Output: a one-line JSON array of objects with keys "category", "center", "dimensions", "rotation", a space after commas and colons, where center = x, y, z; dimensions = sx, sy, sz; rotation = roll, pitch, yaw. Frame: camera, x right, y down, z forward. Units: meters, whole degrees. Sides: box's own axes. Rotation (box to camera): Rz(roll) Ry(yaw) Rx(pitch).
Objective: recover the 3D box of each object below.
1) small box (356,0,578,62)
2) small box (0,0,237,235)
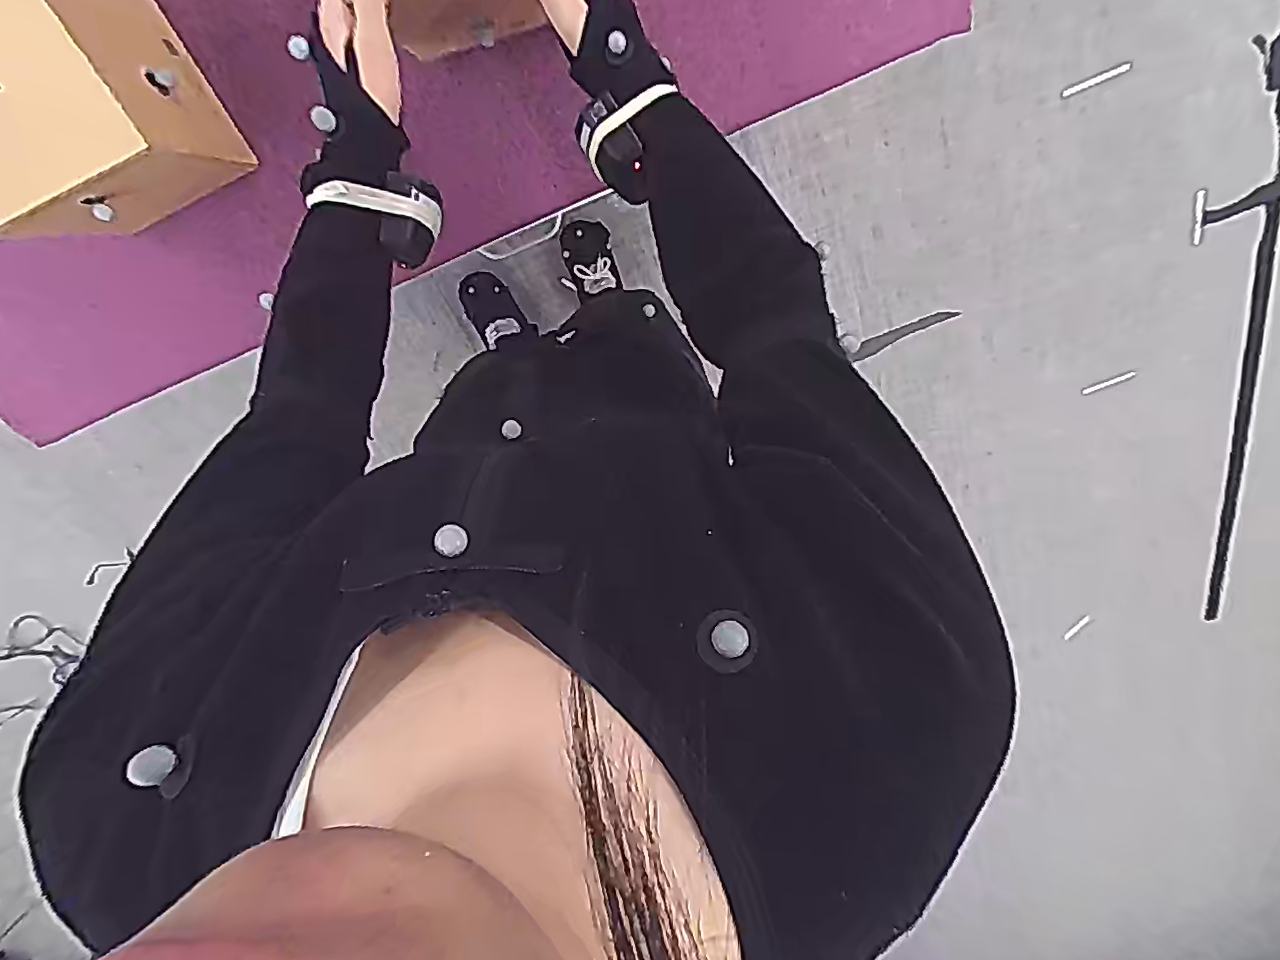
[{"category": "small box", "center": [-0.153, -0.475, 0.428], "dimensions": [0.168, 0.176, 0.179], "rotation": [-12, 115, 5]}, {"category": "small box", "center": [-0.505, -0.336, 0.474], "dimensions": [0.179, 0.176, 0.168], "rotation": [-22, 116, 6]}]
